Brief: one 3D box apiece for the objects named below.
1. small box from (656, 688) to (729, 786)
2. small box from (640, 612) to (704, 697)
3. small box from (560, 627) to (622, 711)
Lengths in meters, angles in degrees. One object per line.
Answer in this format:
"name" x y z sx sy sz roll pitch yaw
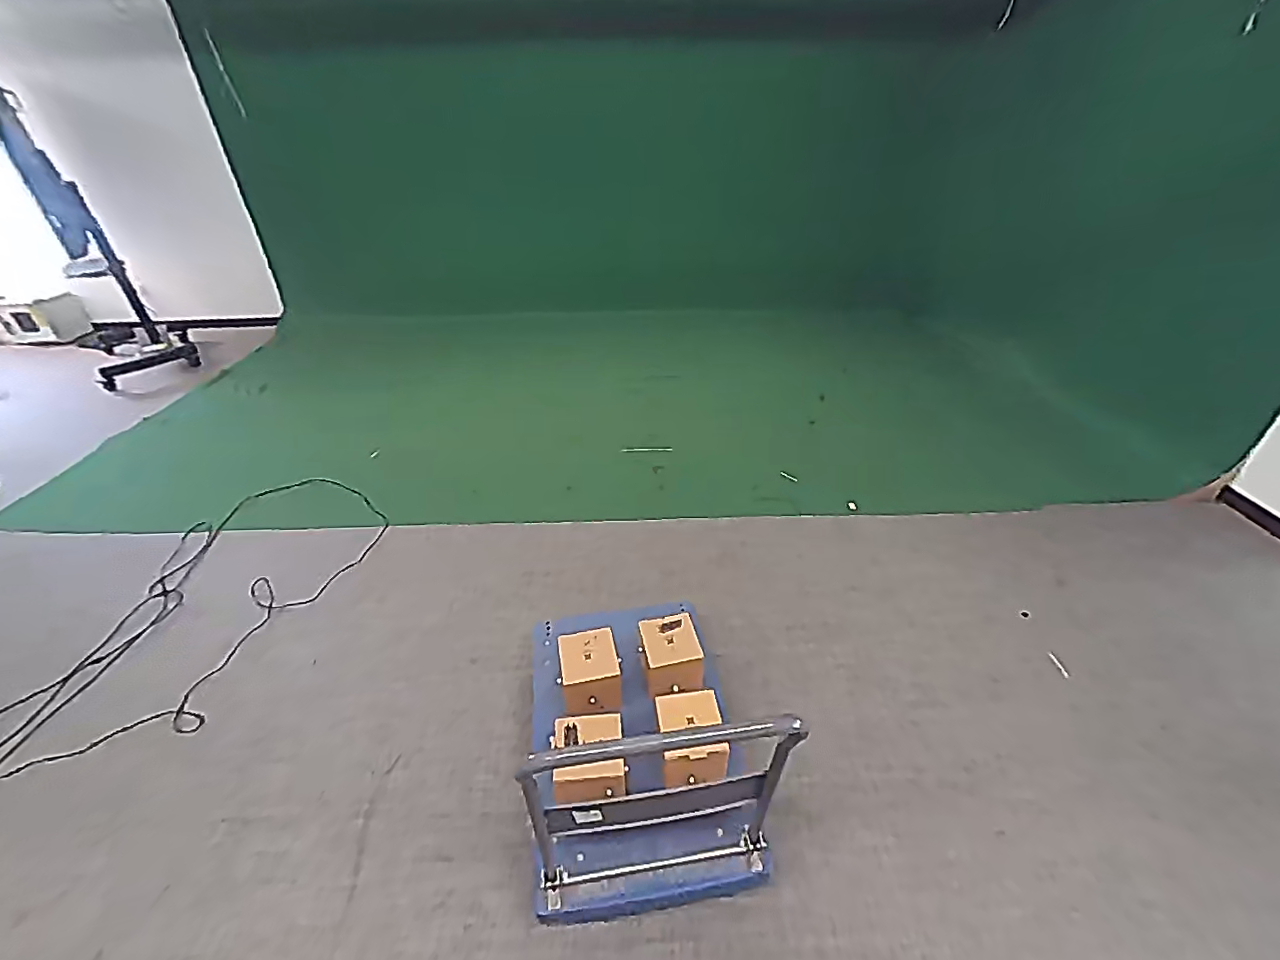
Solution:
"small box" 0.137 0.704 1.483 0.168 0.176 0.179 -5 36 -6
"small box" 0.095 0.548 1.700 0.168 0.176 0.179 -9 37 -9
"small box" -0.151 0.584 1.657 0.168 0.176 0.179 -7 36 -10
